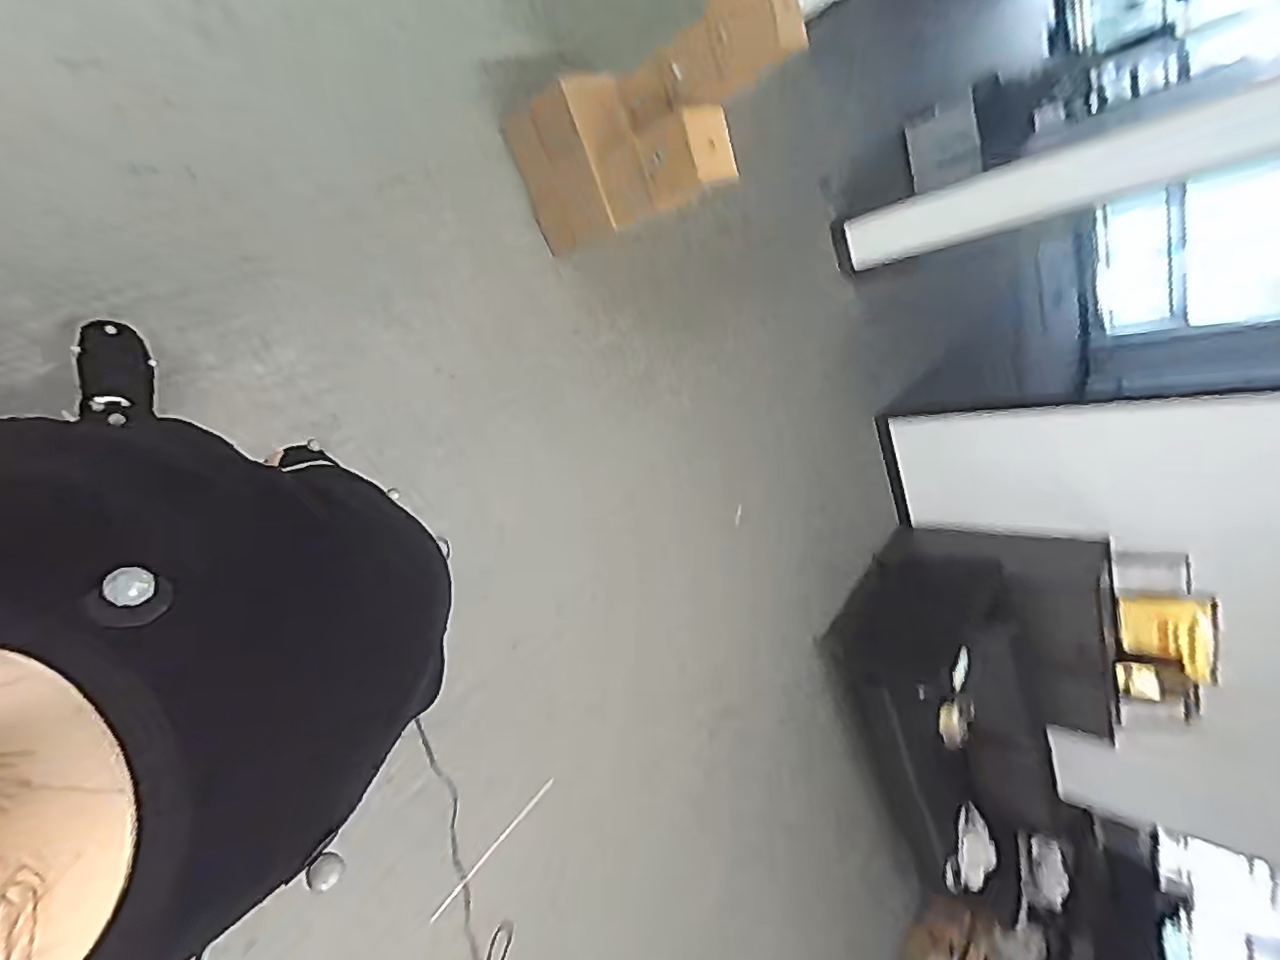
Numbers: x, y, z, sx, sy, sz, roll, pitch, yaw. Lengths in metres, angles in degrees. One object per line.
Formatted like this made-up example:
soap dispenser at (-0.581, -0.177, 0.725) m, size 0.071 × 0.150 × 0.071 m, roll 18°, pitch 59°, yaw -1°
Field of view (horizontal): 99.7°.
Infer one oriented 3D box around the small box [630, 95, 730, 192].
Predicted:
small box at (0.105, -0.878, 1.415) m, size 0.179 × 0.176 × 0.168 m, roll -36°, pitch 116°, yaw -38°

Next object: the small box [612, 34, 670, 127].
small box at (0.050, -1.168, 1.589) m, size 0.179 × 0.176 × 0.168 m, roll -41°, pitch 117°, yaw -38°
